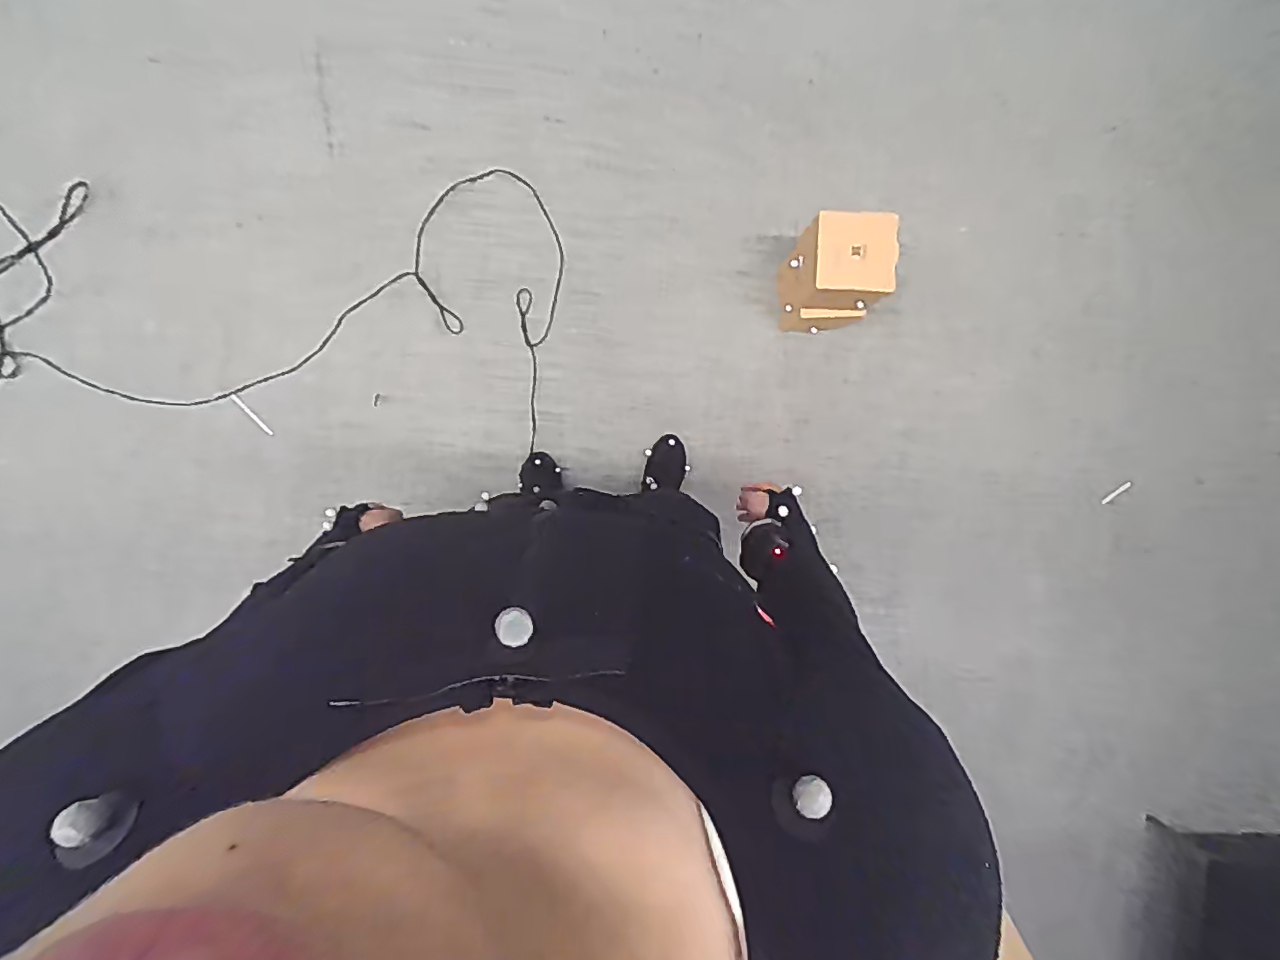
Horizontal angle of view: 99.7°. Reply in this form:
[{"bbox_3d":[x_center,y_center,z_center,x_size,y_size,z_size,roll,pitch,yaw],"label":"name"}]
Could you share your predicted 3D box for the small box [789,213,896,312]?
[{"bbox_3d":[0.456,-0.488,1.235,0.179,0.176,0.168,1,93,-2],"label":"small box"}]
